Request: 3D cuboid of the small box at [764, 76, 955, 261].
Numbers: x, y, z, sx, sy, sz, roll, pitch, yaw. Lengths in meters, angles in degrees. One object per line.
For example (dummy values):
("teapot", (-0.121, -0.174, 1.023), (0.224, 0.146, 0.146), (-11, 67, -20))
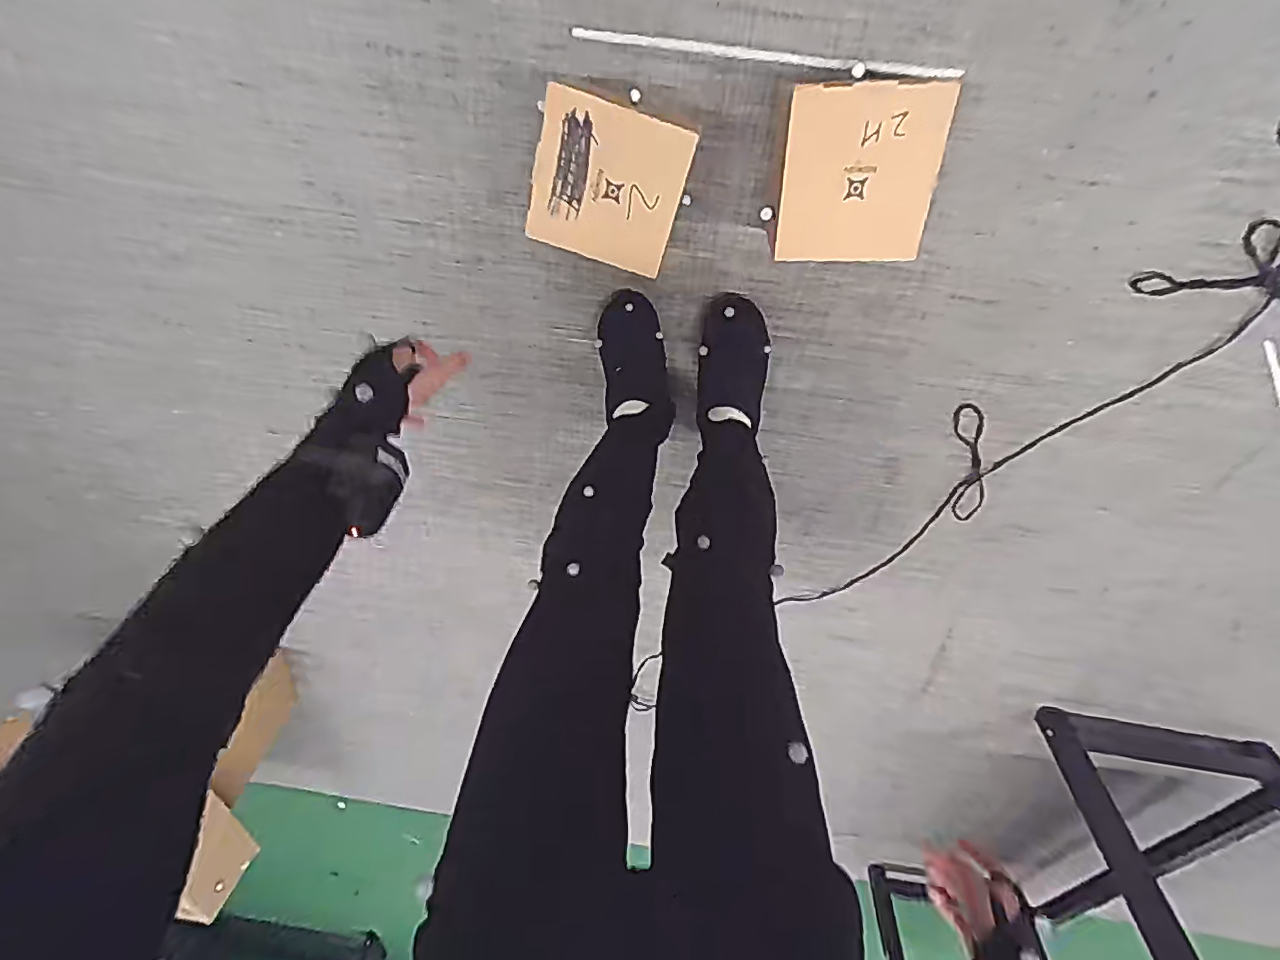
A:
("small box", (0.246, -0.381, 0.659), (0.168, 0.176, 0.179), (3, 126, 6))
